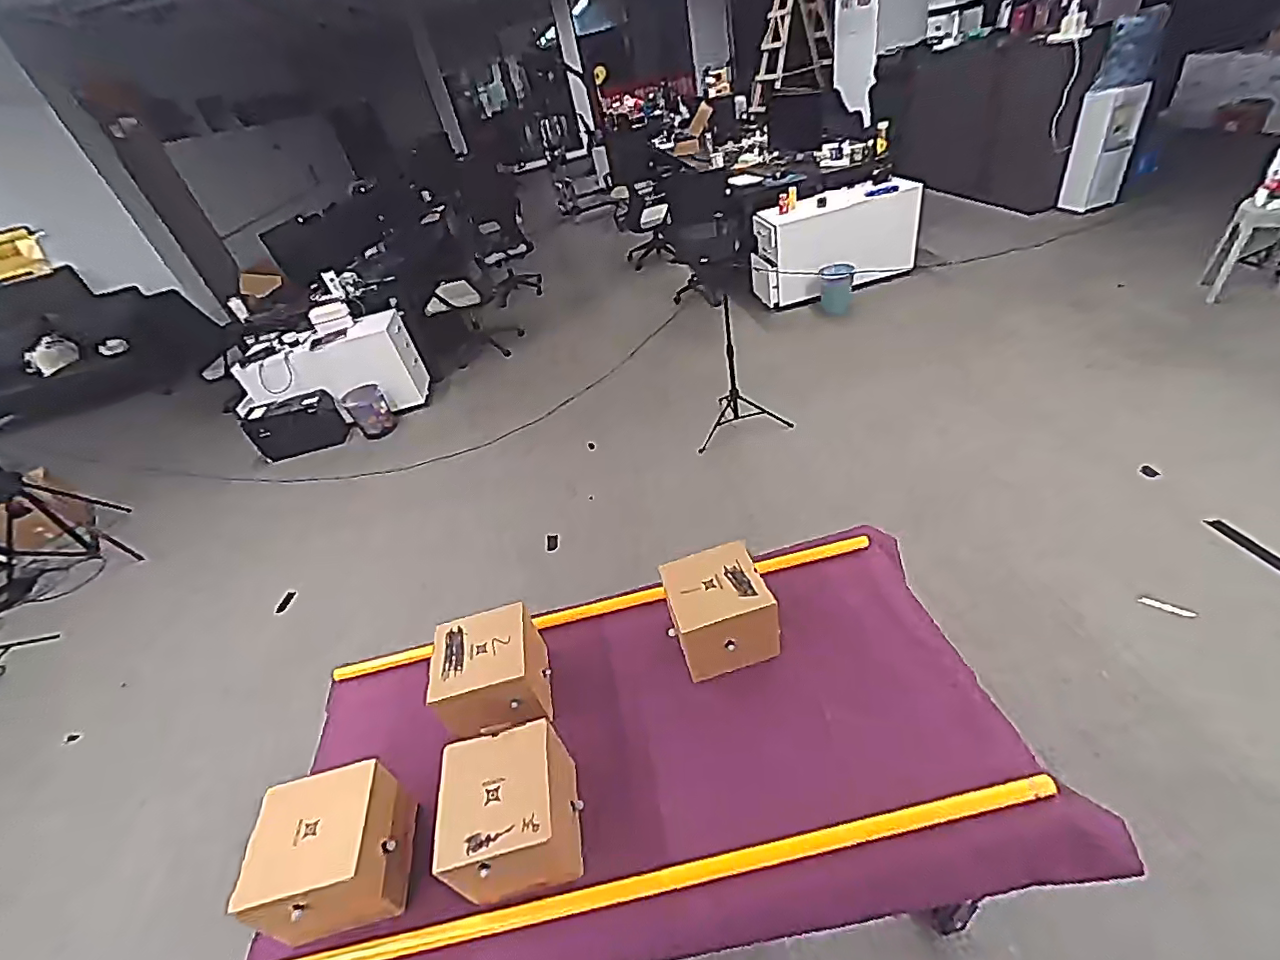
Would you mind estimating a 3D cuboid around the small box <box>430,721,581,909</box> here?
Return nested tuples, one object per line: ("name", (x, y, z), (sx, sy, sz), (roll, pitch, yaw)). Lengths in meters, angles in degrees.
("small box", (-0.194, 0.507, 0.823), (0.168, 0.176, 0.179), (-16, 37, -1))

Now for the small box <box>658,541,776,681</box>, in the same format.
("small box", (0.148, 0.249, 1.030), (0.179, 0.176, 0.168), (-18, 39, -2))

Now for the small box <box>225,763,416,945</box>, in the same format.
("small box", (-0.468, 0.573, 0.830), (0.179, 0.176, 0.168), (-16, 37, -3))
